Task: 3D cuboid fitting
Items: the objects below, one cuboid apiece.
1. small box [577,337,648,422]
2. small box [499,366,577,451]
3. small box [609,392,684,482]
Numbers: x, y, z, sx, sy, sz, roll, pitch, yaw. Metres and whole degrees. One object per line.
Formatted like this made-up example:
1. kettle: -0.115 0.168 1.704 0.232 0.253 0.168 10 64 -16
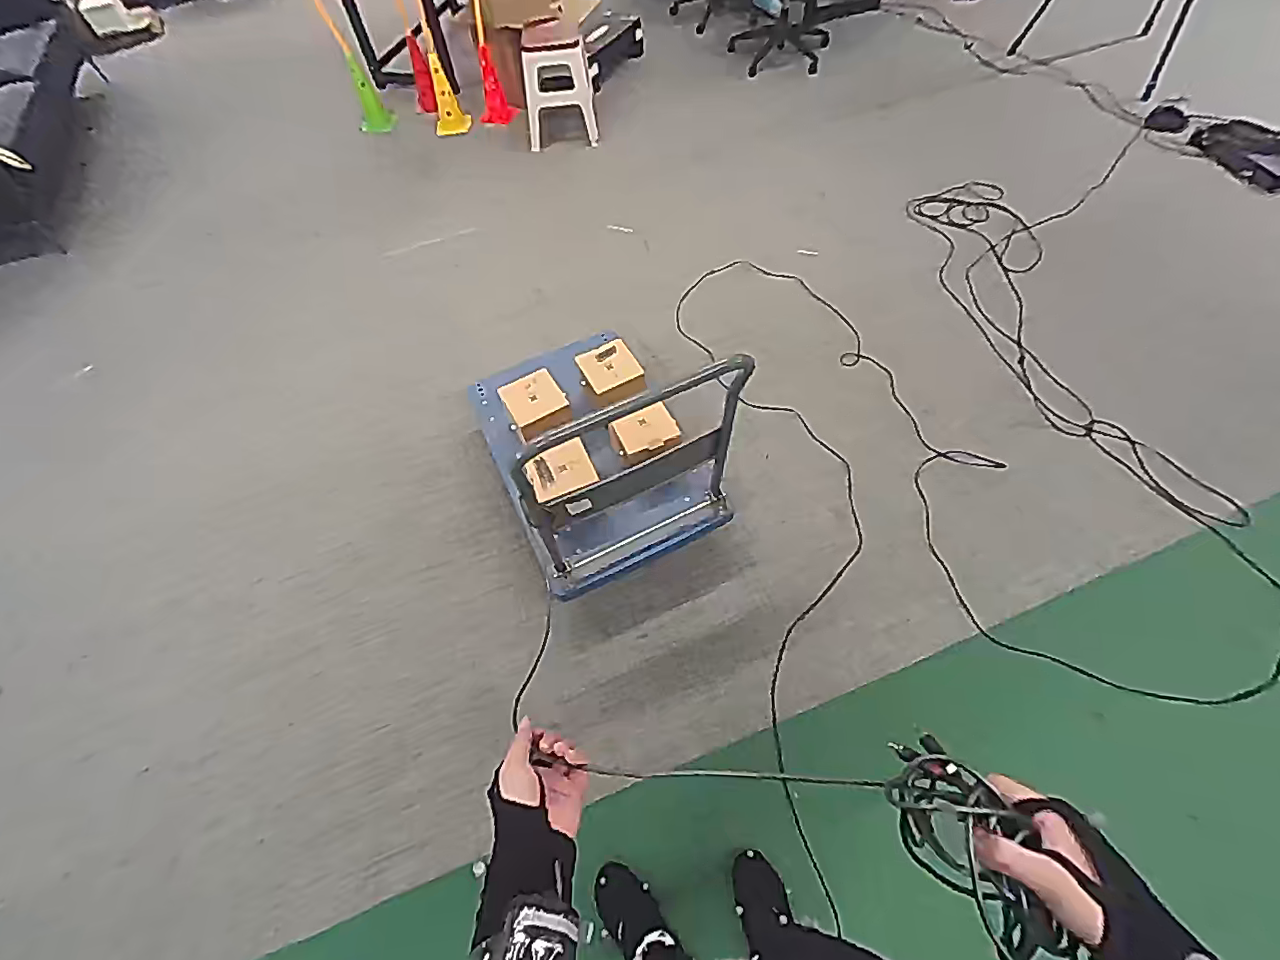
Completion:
1. small box: -0.085 -0.319 1.735 0.168 0.176 0.179 -26 62 -11
2. small box: -0.312 -0.215 1.688 0.168 0.176 0.179 -27 61 -13
3. small box: 0.018 -0.125 1.615 0.168 0.176 0.179 -23 61 -10
